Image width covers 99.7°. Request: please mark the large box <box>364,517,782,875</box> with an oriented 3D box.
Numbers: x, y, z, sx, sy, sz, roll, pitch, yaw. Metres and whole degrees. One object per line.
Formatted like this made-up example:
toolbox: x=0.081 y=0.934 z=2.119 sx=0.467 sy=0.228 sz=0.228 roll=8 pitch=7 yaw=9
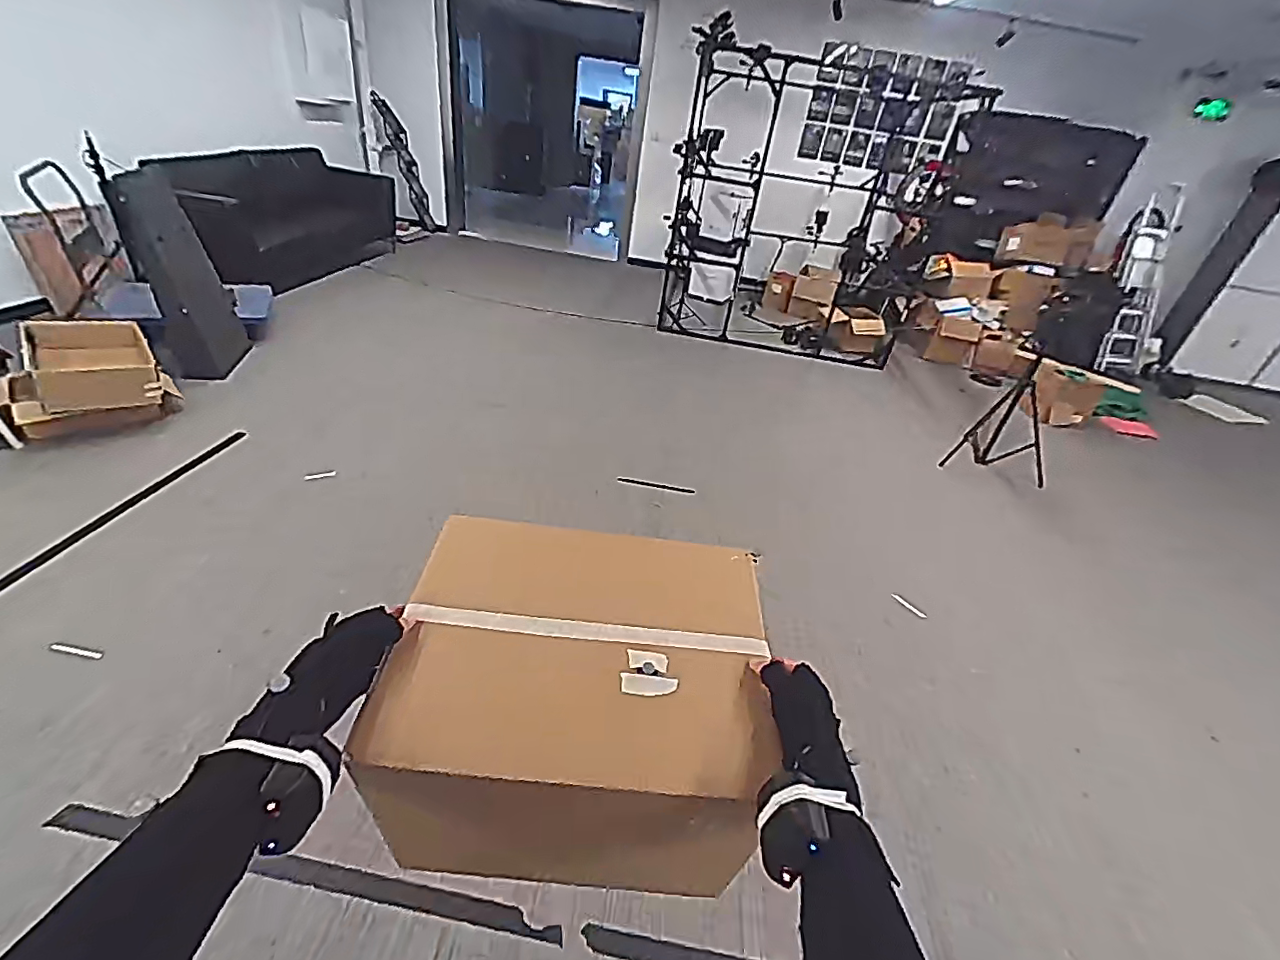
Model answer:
large box: x=-0.075 y=0.281 z=0.711 sx=0.408 sy=0.320 sz=0.320 roll=8 pitch=40 yaw=-3
